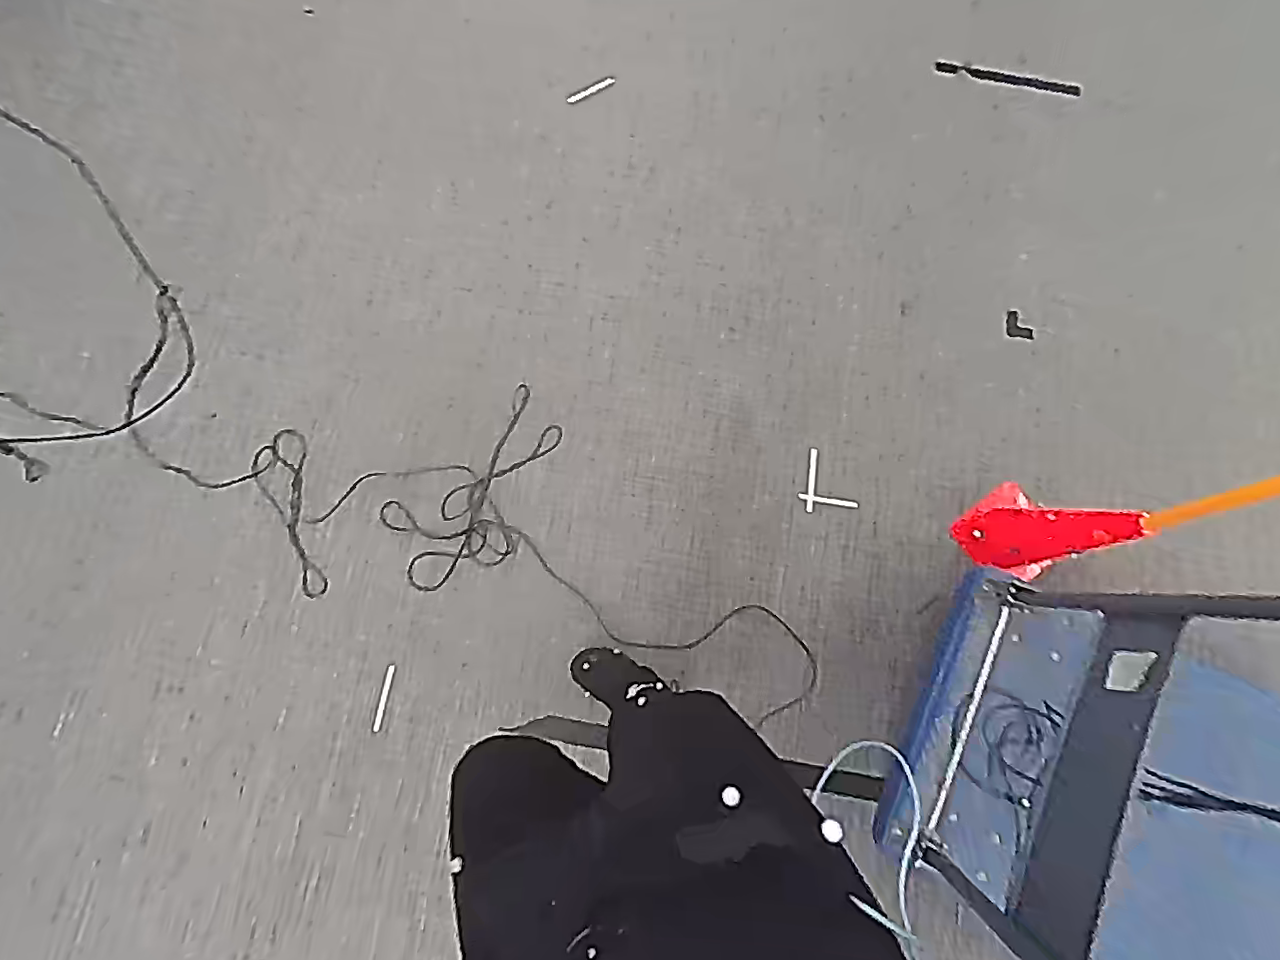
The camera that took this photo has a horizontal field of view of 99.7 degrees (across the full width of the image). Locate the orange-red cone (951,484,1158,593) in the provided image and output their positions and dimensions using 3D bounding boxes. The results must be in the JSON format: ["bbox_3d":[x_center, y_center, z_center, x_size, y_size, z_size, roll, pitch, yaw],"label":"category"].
[{"bbox_3d":[0.842,0.105,1.071,0.198,0.360,0.199,-35,83,-6],"label":"orange-red cone"}]
